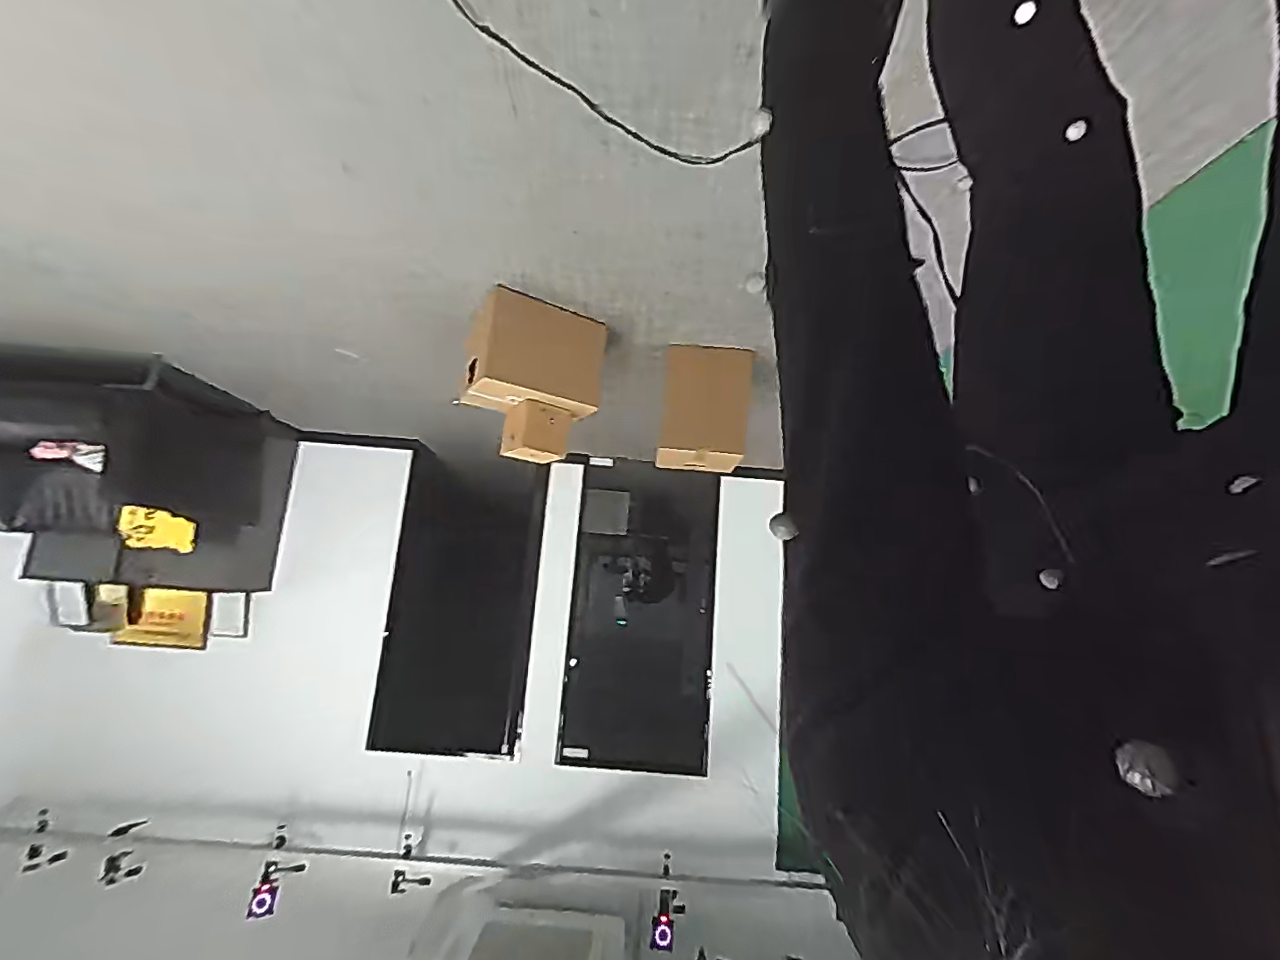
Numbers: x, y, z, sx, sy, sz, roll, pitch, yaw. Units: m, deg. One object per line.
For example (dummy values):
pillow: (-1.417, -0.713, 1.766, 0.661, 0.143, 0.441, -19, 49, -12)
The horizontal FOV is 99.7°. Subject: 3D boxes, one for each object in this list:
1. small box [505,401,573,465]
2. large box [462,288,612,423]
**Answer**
small box: (-0.344, -0.159, 1.858, 0.168, 0.176, 0.179, 13, 167, -35)
large box: (-0.355, -0.406, 1.876, 0.408, 0.320, 0.320, 13, 166, -30)
